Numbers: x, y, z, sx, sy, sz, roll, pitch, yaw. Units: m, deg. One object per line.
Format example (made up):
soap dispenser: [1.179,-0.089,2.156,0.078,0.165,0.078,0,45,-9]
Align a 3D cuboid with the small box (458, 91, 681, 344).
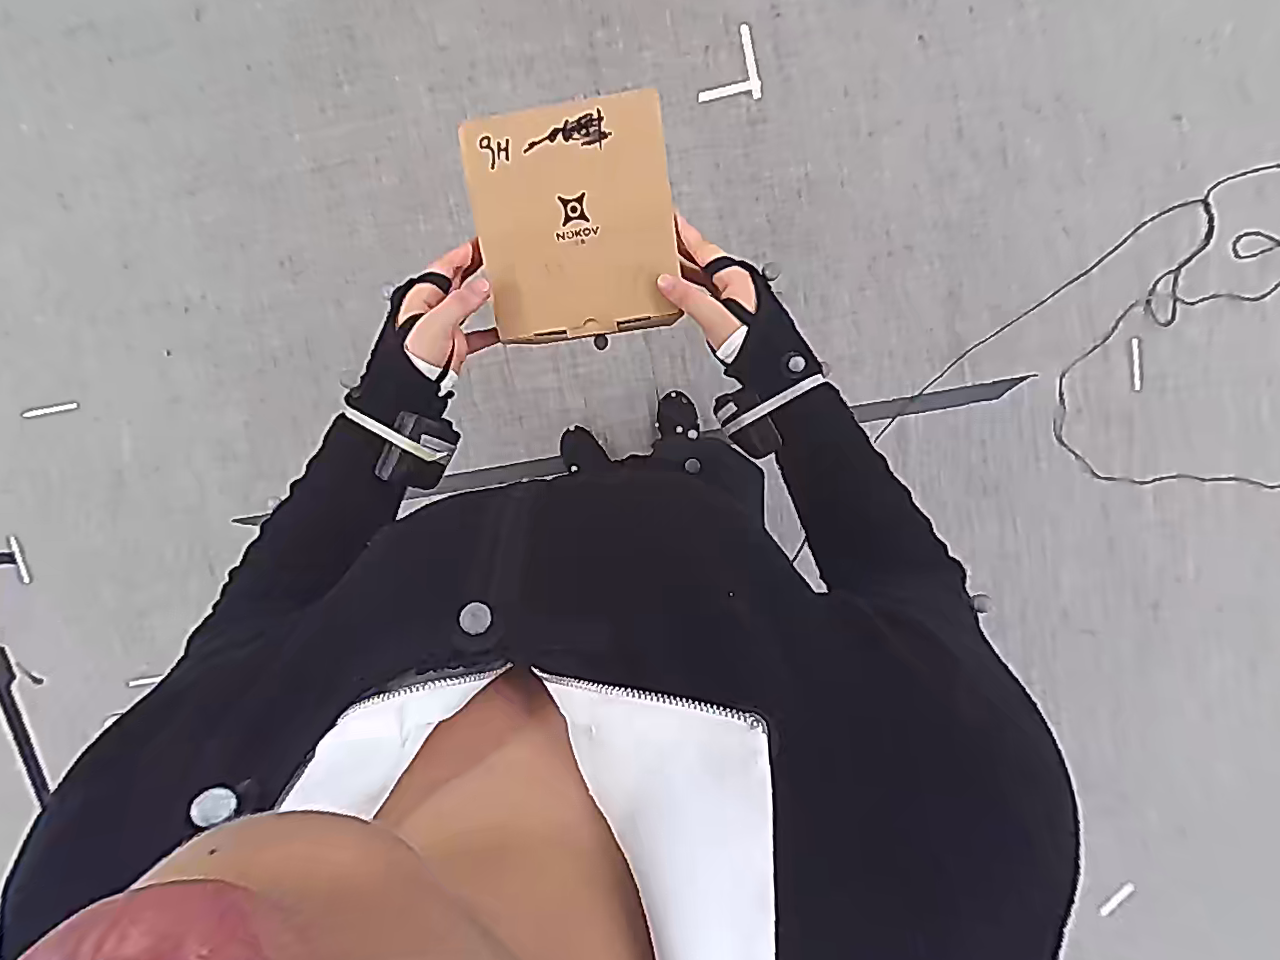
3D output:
small box: [-0.052,-0.234,0.527,0.168,0.176,0.179,-8,104,3]
